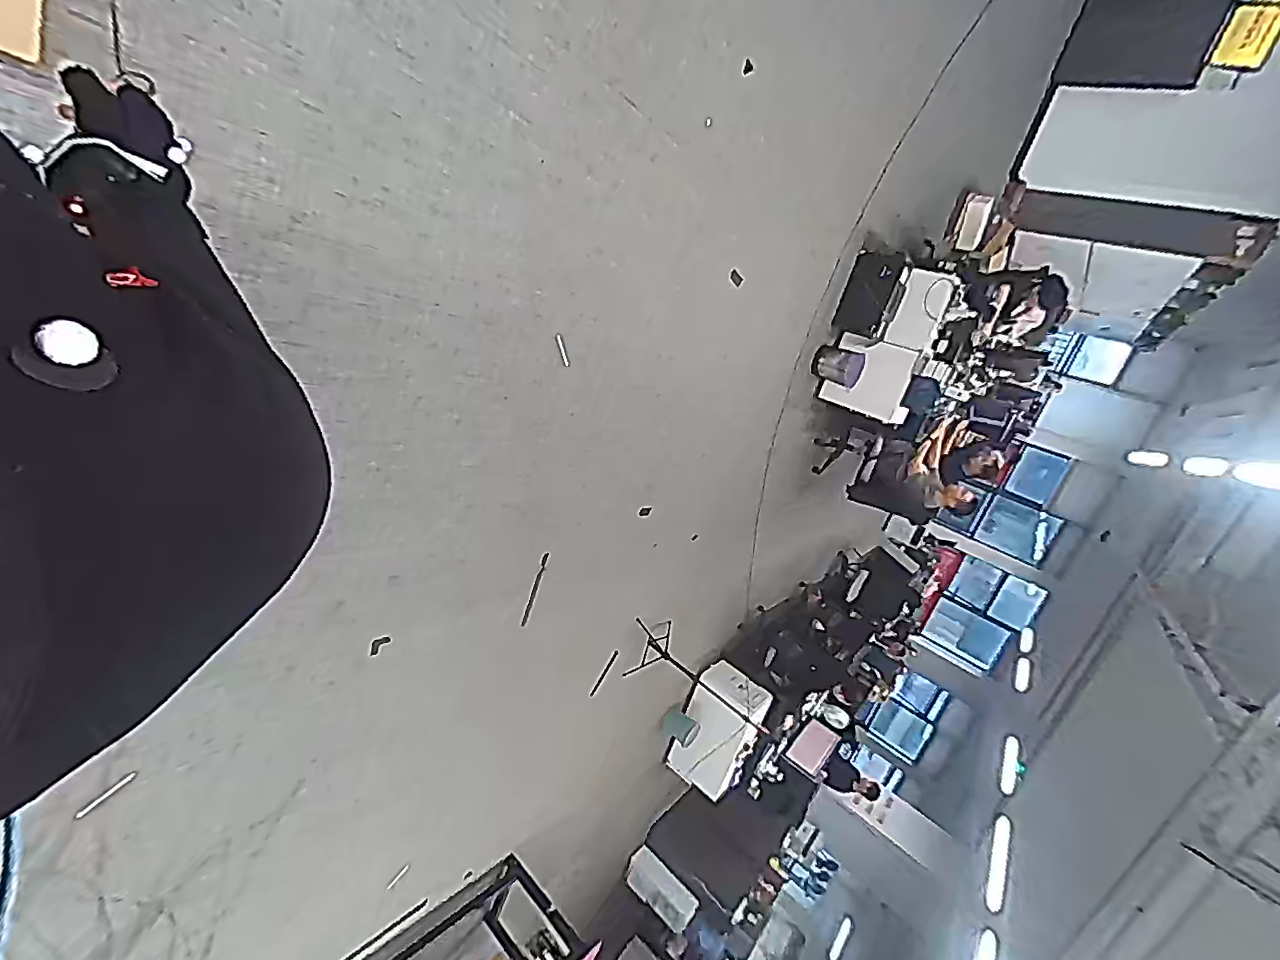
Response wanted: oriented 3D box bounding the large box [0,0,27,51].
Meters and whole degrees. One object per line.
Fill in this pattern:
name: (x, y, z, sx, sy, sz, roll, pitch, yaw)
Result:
large box: (-0.985, -0.756, 0.591, 0.408, 0.320, 0.320, 0, 114, -54)
